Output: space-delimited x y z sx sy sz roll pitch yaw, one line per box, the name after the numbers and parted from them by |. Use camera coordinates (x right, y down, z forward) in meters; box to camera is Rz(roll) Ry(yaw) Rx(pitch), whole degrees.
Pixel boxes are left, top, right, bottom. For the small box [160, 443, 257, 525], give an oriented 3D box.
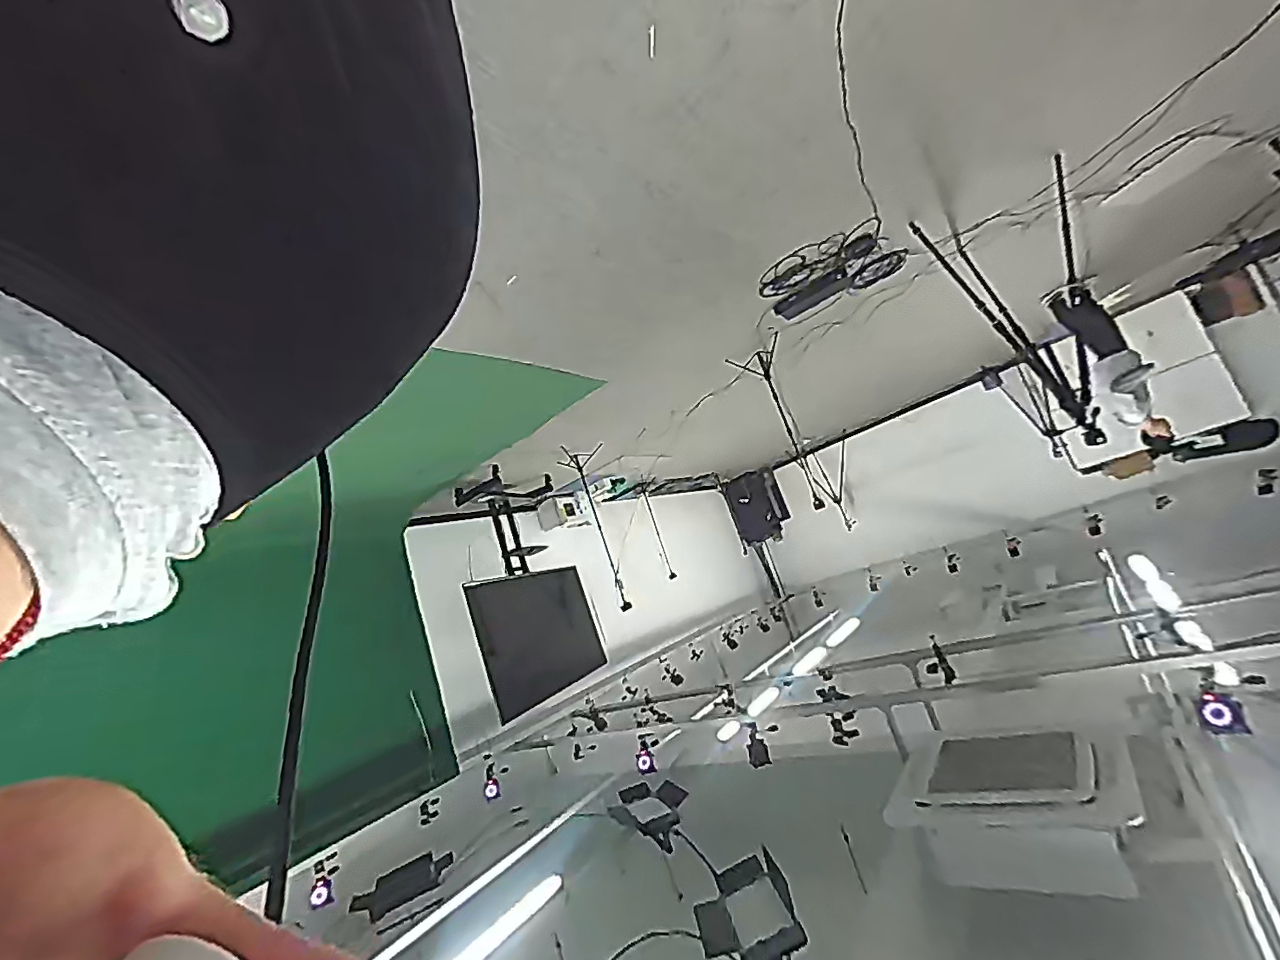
-1.167 0.009 1.457 0.179 0.176 0.168 -26 168 37 | small box
